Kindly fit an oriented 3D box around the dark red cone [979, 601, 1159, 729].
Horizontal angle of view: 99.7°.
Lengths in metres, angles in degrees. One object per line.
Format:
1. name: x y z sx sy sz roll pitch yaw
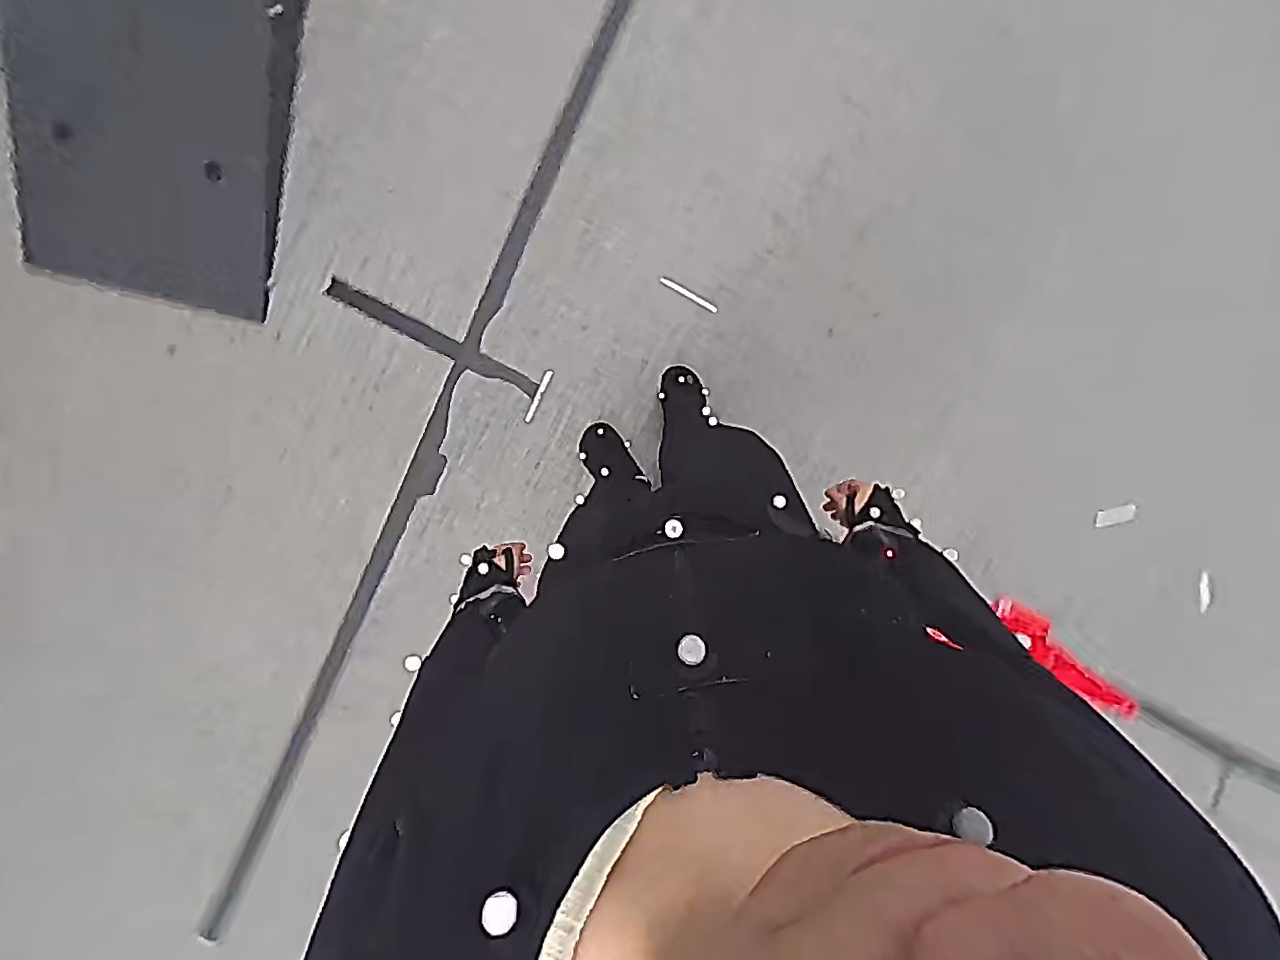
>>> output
1. dark red cone: 1.084 0.484 1.357 0.202 0.394 0.201 25 97 -9
